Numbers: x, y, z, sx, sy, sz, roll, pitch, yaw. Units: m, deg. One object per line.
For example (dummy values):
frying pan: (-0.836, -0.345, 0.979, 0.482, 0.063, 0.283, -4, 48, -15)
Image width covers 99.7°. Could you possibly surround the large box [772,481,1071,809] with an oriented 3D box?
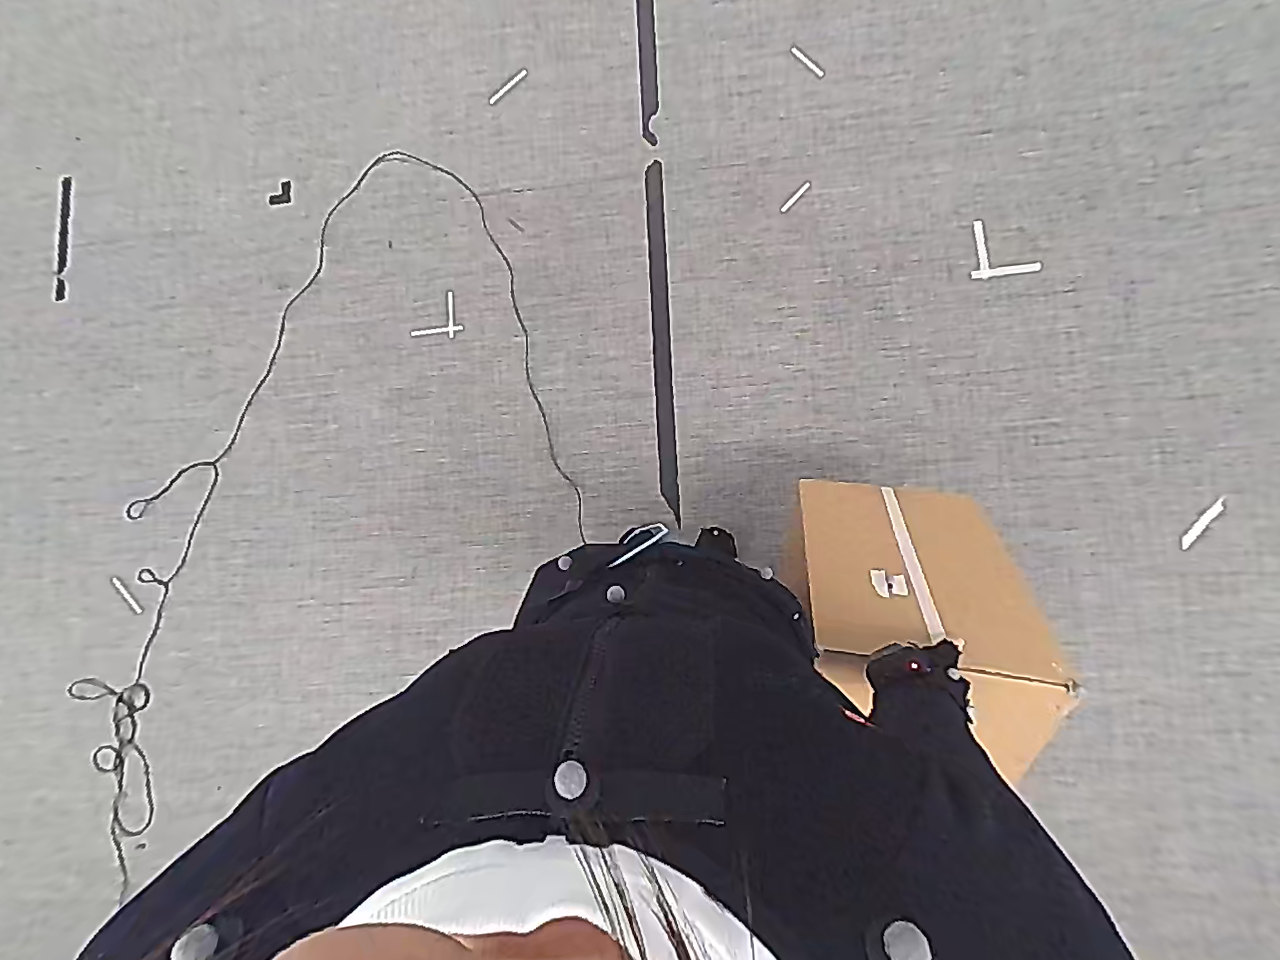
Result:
large box: (0.404, 0.251, 0.914, 0.320, 0.408, 0.320, 6, 125, 10)
